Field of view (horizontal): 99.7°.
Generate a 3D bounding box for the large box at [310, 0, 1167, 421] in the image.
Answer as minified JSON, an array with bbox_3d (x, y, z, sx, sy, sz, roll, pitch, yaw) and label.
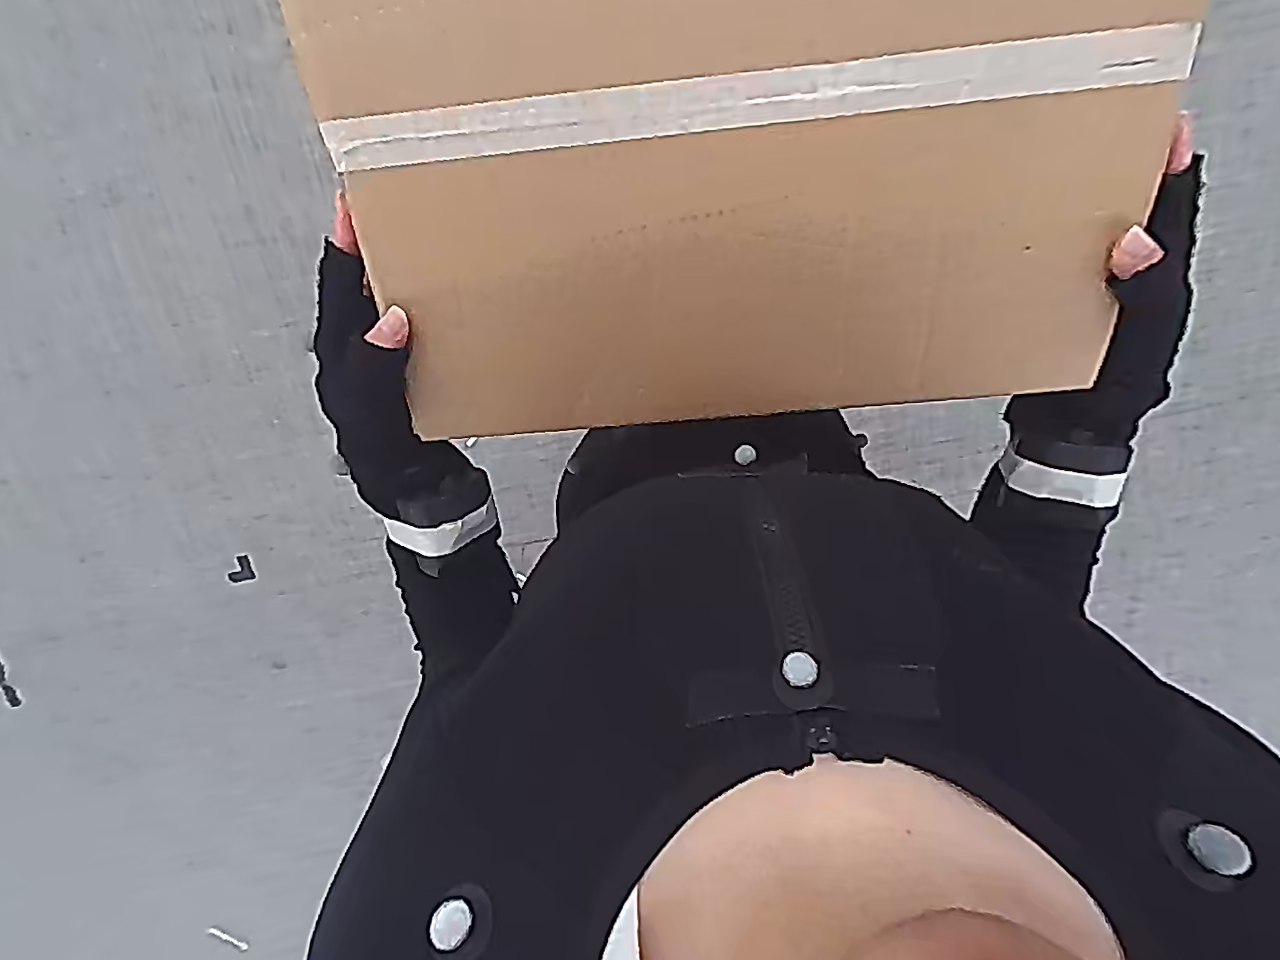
[{"bbox_3d":[0.047,-0.256,0.402,0.408,0.320,0.320,-4,117,2],"label":"large box"}]
